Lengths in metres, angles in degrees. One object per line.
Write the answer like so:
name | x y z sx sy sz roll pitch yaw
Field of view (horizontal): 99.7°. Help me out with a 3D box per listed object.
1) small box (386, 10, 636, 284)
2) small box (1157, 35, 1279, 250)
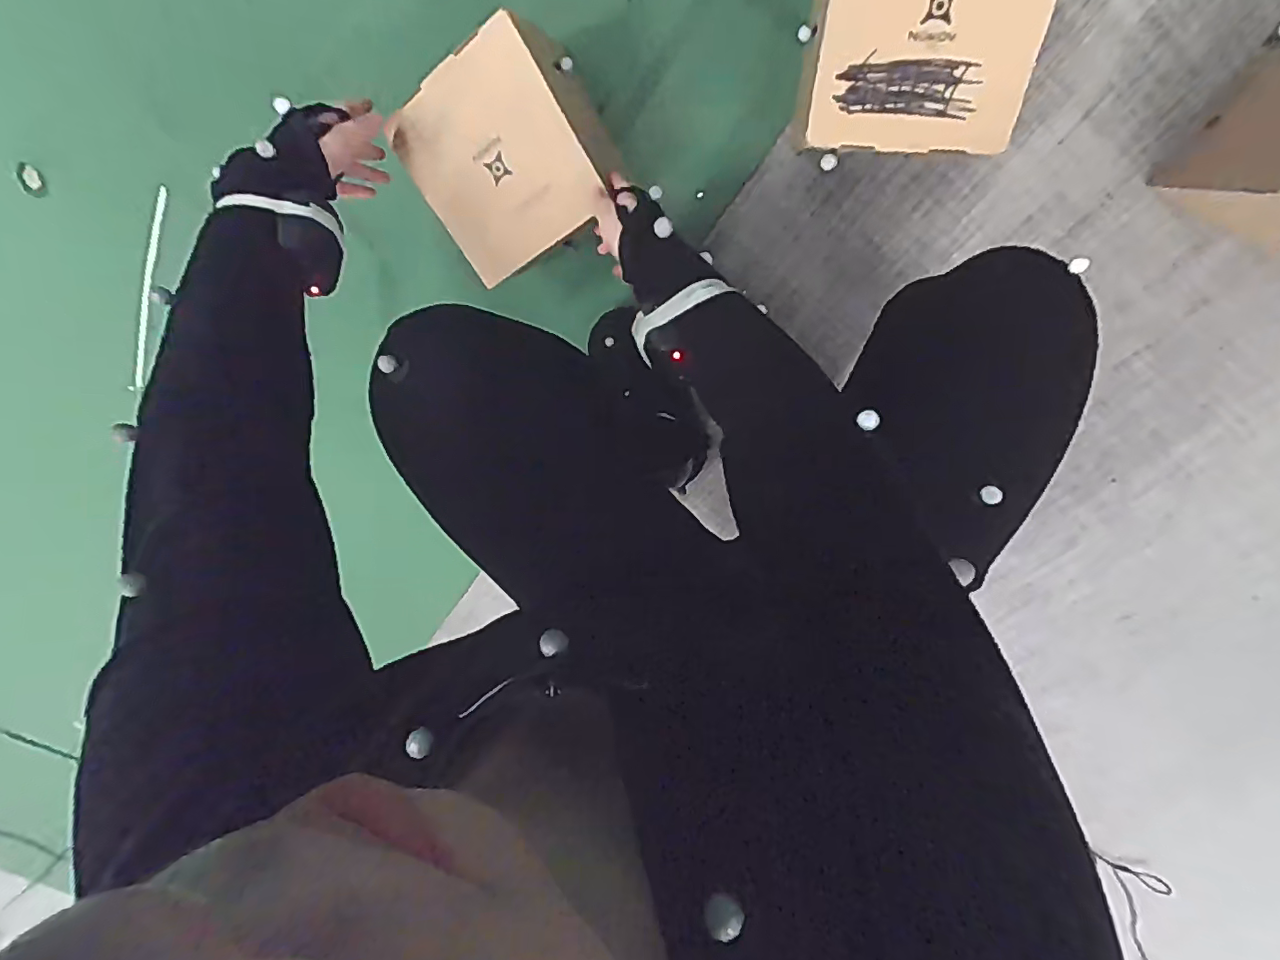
small box | -0.123 -0.345 0.590 0.168 0.176 0.179 -24 113 23
small box | 0.633 -0.301 0.472 0.179 0.176 0.168 24 121 -5
